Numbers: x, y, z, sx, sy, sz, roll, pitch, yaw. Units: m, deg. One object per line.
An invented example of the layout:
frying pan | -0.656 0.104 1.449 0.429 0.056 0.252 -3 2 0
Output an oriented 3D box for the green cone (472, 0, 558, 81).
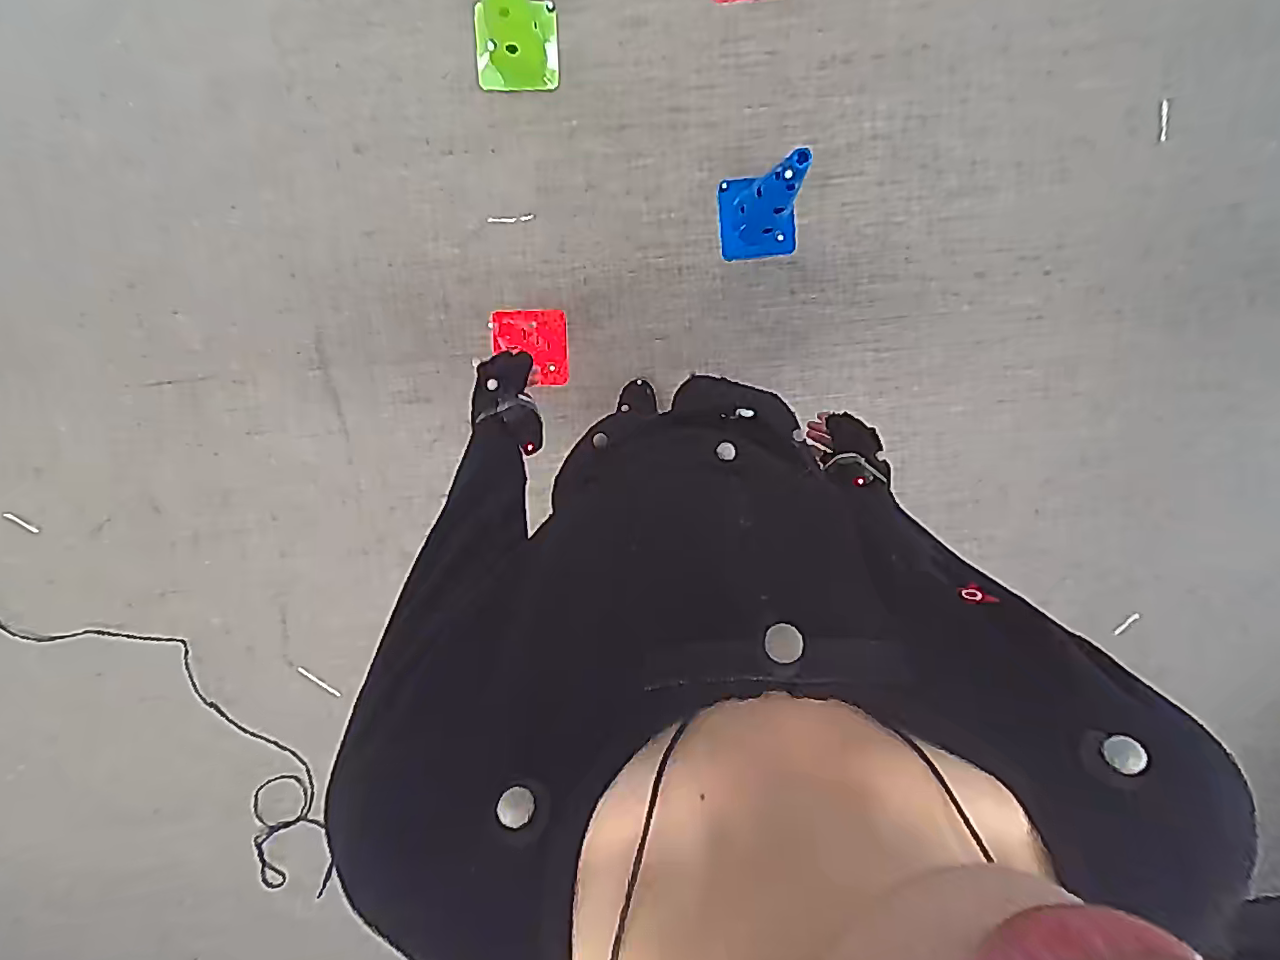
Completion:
green cone | -0.300 -1.064 1.156 0.200 0.368 0.202 -3 99 -2

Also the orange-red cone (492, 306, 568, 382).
orange-red cone | -0.279 -0.341 1.264 0.198 0.360 0.199 -1 97 -3
